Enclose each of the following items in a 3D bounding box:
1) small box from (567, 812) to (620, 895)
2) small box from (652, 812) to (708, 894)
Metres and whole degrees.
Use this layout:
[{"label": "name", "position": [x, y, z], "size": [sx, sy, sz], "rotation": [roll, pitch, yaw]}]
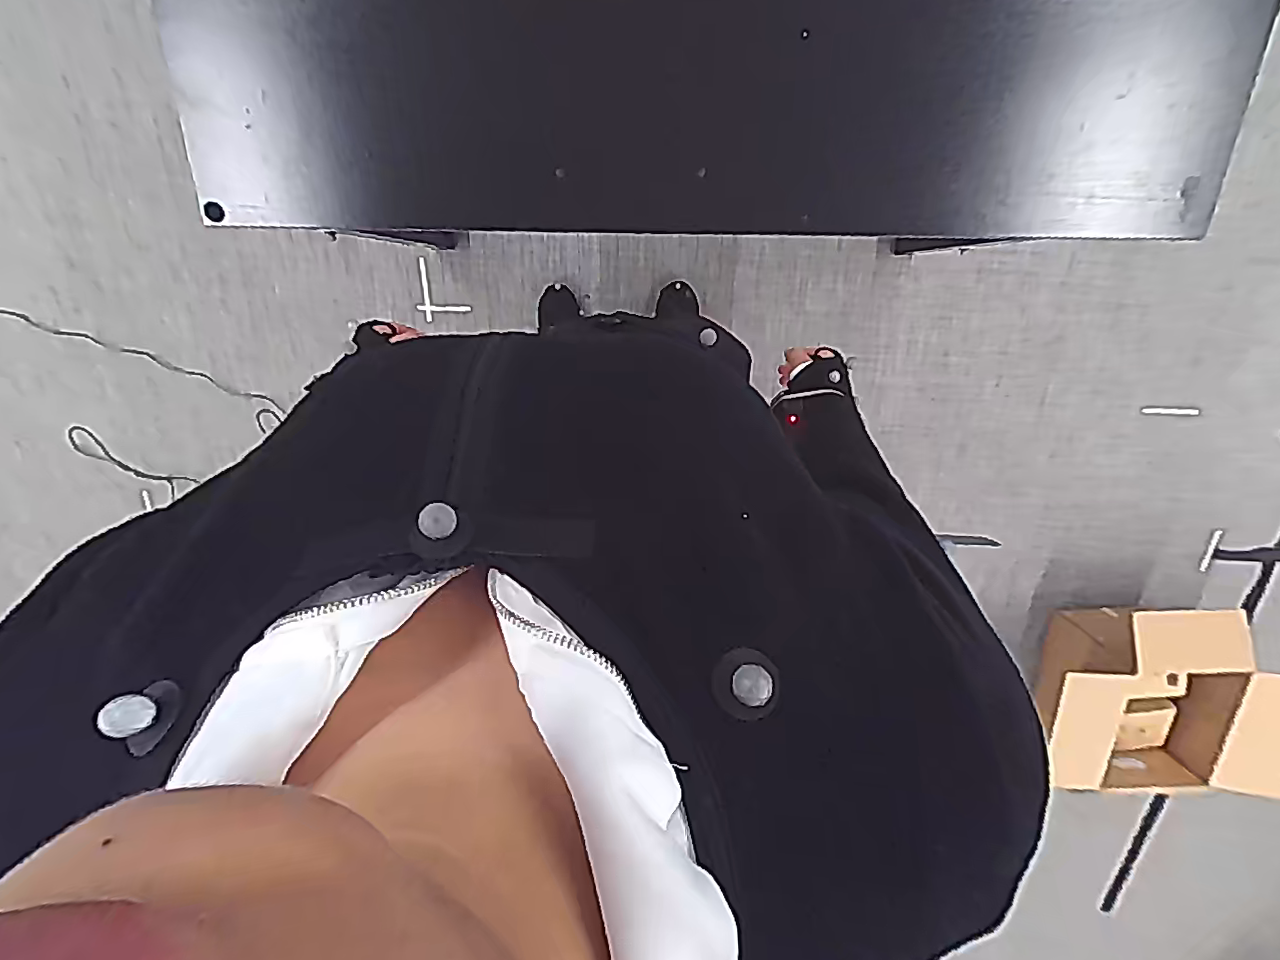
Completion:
[{"label": "small box", "position": [-0.157, 1.277, 1.858], "size": [0.168, 0.176, 0.179], "rotation": [5, 108, -2]}, {"label": "small box", "position": [0.133, 1.278, 1.858], "size": [0.179, 0.176, 0.168], "rotation": [4, 108, 1]}]
